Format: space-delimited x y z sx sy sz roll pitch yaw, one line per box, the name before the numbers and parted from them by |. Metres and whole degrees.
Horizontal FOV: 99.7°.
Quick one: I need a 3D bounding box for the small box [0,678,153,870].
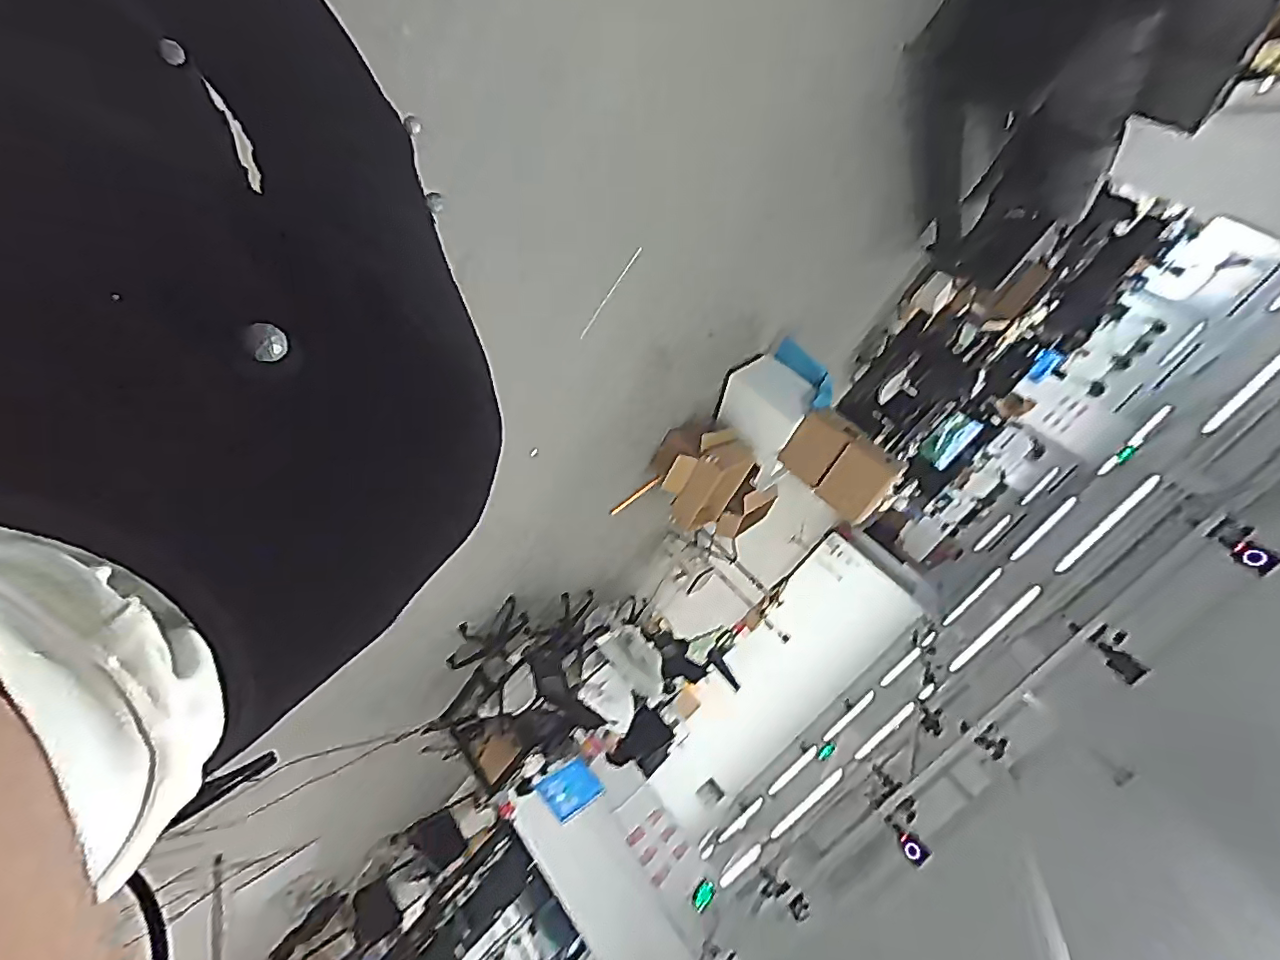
small box | -0.877 0.431 0.806 0.168 0.176 0.179 -54 154 21
